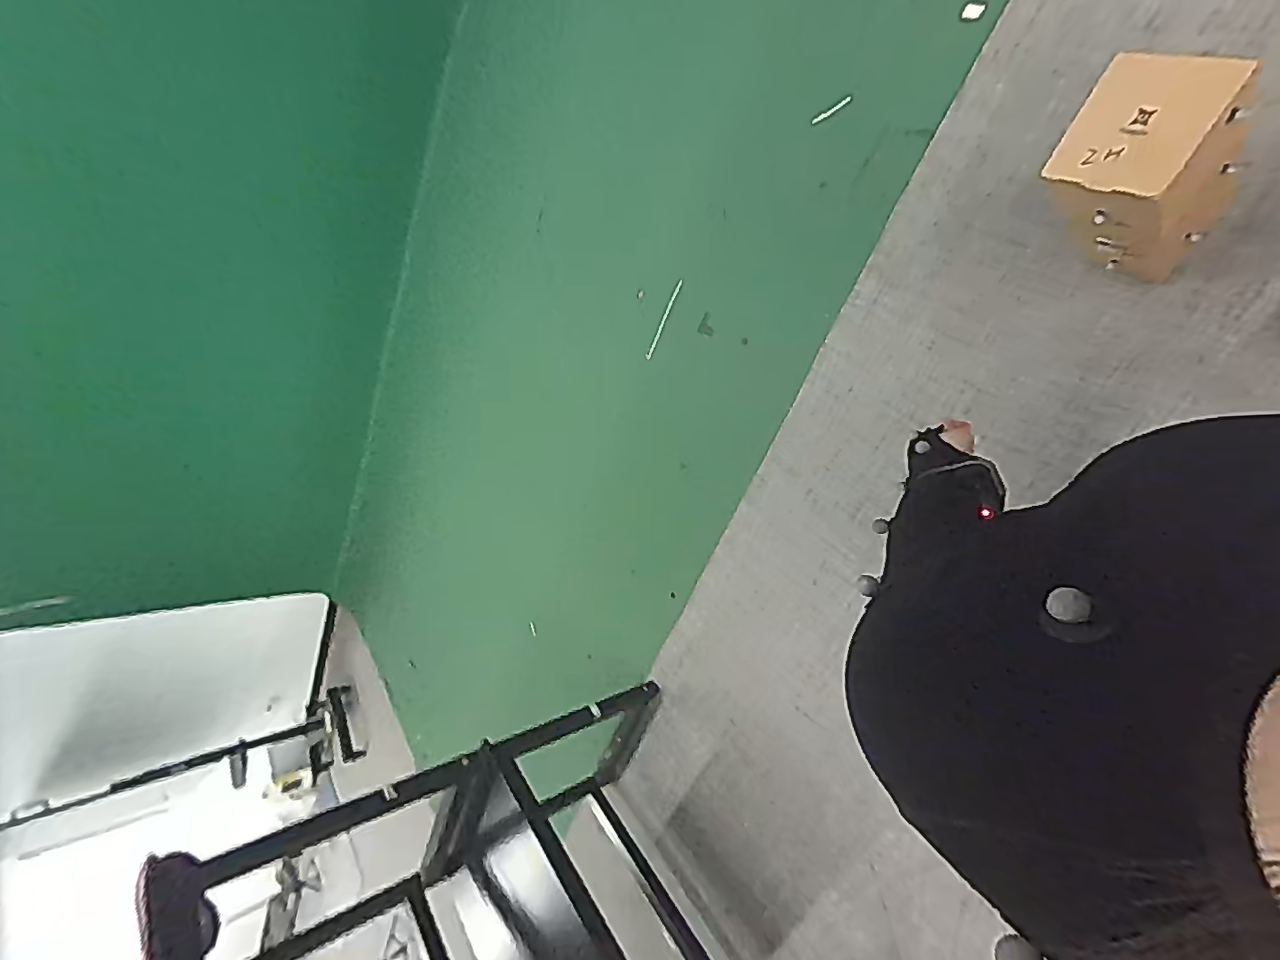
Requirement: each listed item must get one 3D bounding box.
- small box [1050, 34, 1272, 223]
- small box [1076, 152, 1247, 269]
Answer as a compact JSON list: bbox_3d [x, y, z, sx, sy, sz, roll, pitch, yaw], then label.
[{"bbox_3d":[0.773,-0.523,0.817,0.168,0.176,0.179,44,120,37],"label":"small box"},{"bbox_3d":[1.005,-0.533,1.048,0.168,0.176,0.179,46,122,34],"label":"small box"}]
